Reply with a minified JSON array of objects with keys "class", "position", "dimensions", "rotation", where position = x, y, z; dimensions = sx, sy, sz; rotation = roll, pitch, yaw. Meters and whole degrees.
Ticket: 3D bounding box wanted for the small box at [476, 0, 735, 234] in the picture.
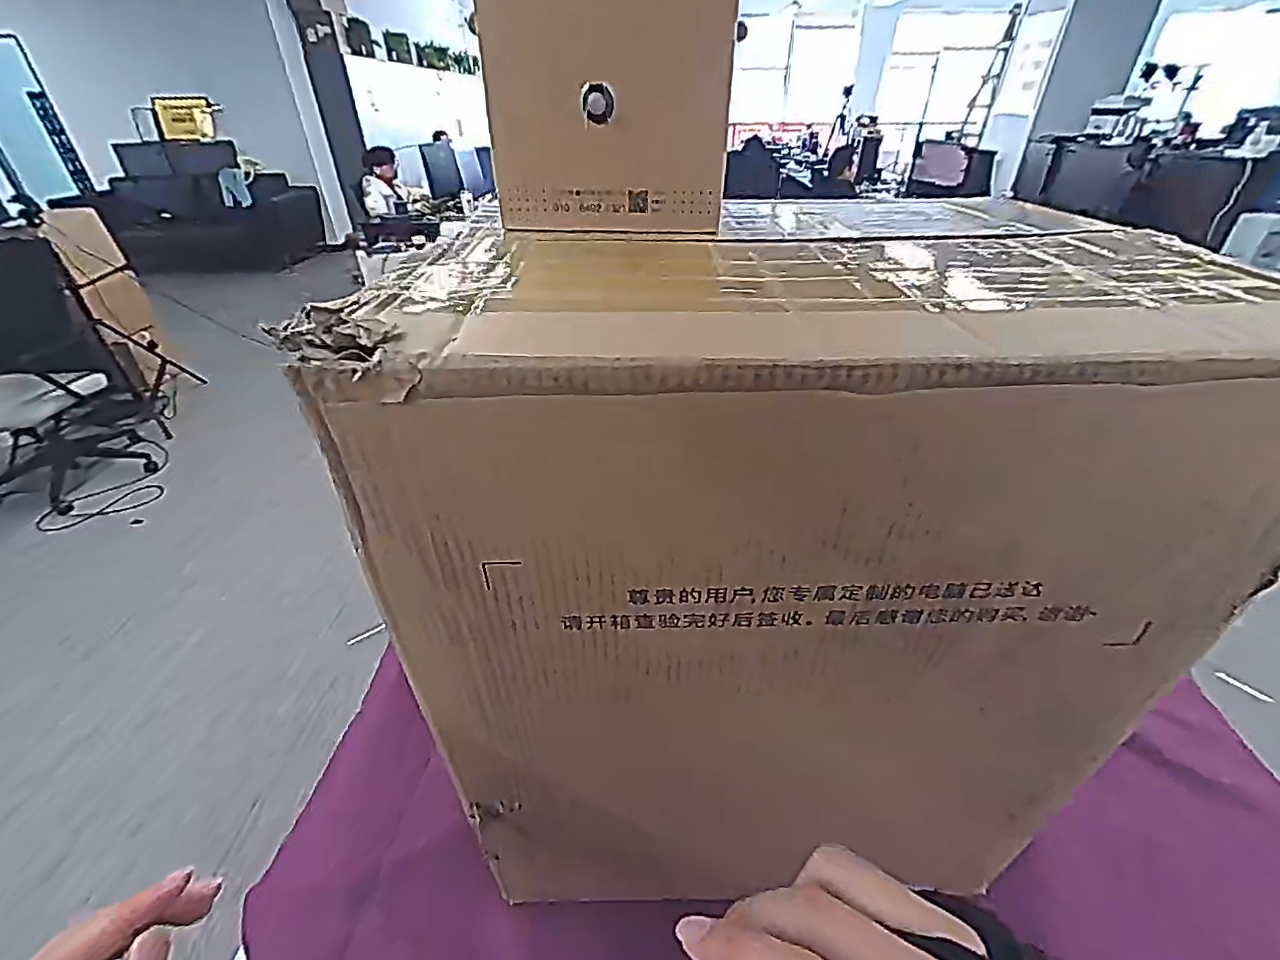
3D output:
[{"class":"small box","position":[-0.016,-0.301,0.432],"dimensions":[0.168,0.176,0.179],"rotation":[2,34,2]}]
